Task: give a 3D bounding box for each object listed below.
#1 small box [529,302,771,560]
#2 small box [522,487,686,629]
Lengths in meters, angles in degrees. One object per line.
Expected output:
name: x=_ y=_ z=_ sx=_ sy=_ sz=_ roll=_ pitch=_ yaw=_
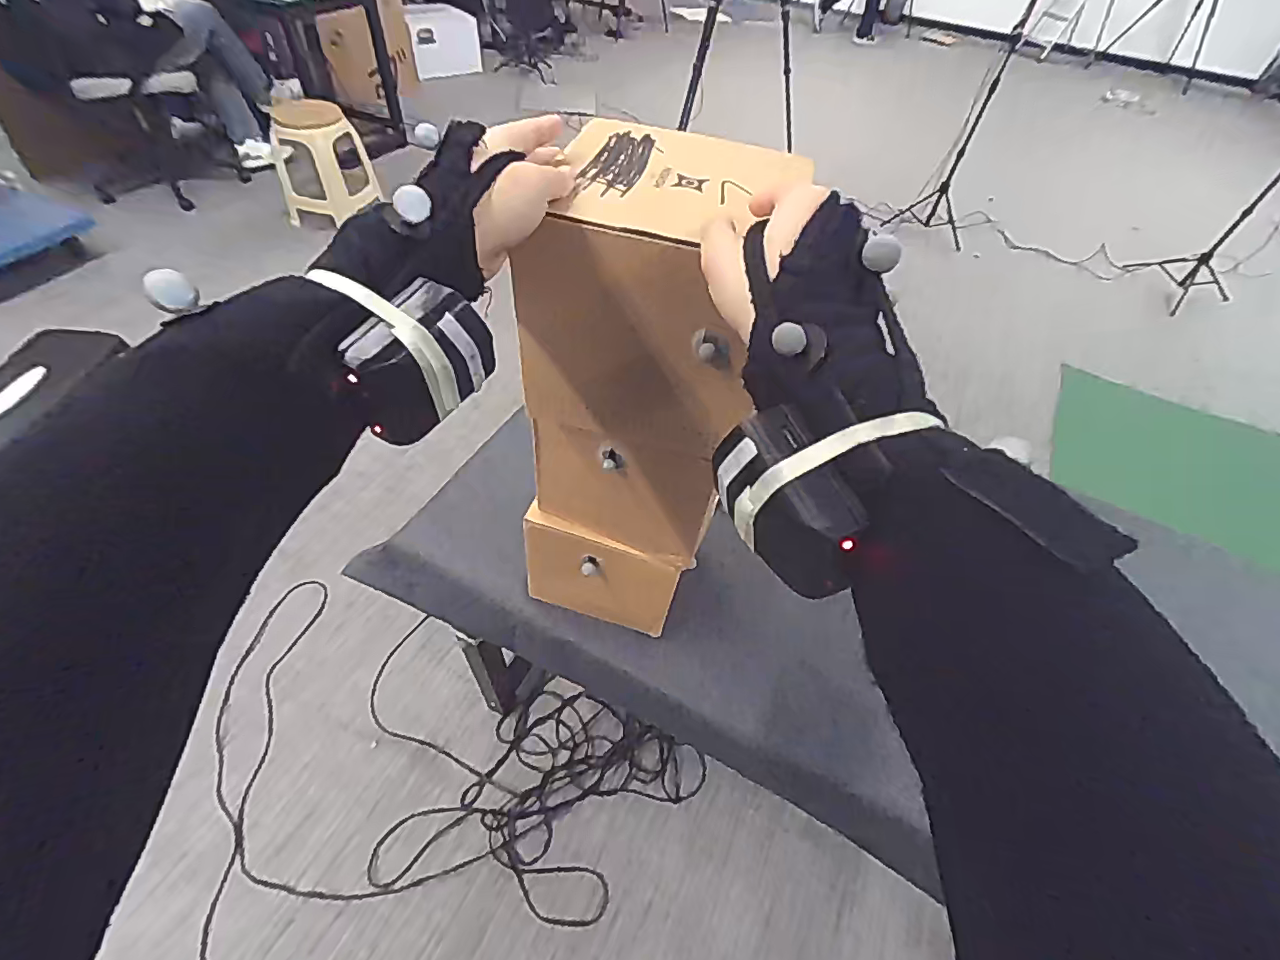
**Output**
small box: x=0.008 y=-0.046 z=0.547 sx=0.179 sy=0.176 sz=0.168 roll=22 pitch=52 yaw=11
small box: x=-0.025 y=0.061 z=0.665 sx=0.179 sy=0.176 sz=0.168 roll=16 pitch=50 yaw=7
